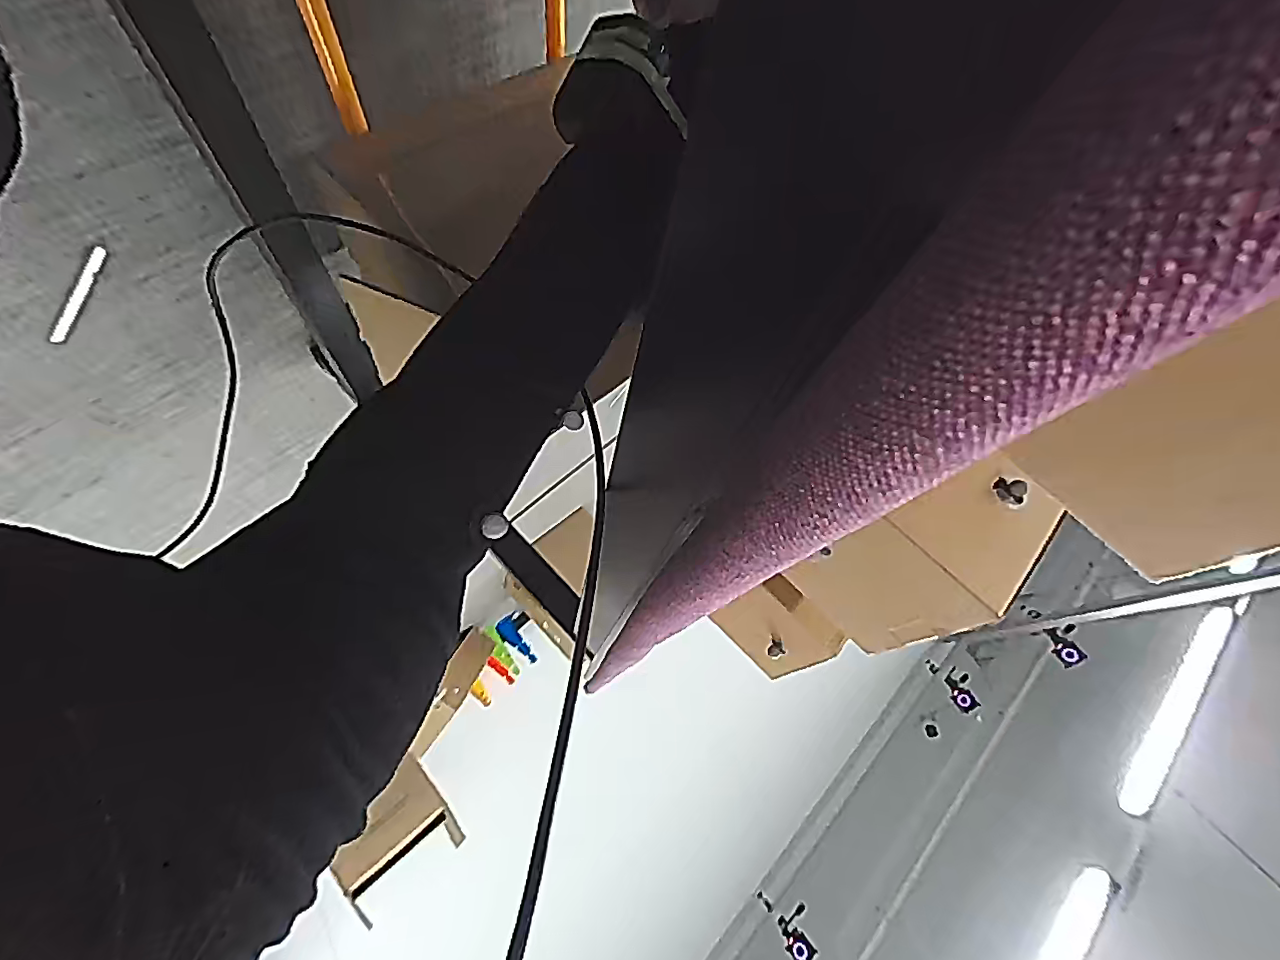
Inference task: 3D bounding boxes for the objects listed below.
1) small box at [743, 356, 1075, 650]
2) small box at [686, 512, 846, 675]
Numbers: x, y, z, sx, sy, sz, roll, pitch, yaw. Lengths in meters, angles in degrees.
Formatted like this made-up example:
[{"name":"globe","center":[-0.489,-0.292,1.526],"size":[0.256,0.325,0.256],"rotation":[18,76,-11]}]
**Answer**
[{"name":"small box","center":[0.229,0.021,0.493],"size":[0.179,0.176,0.168],"rotation":[-40,167,-26]},{"name":"small box","center":[0.184,0.123,0.707],"size":[0.168,0.176,0.179],"rotation":[-41,168,-28]}]
